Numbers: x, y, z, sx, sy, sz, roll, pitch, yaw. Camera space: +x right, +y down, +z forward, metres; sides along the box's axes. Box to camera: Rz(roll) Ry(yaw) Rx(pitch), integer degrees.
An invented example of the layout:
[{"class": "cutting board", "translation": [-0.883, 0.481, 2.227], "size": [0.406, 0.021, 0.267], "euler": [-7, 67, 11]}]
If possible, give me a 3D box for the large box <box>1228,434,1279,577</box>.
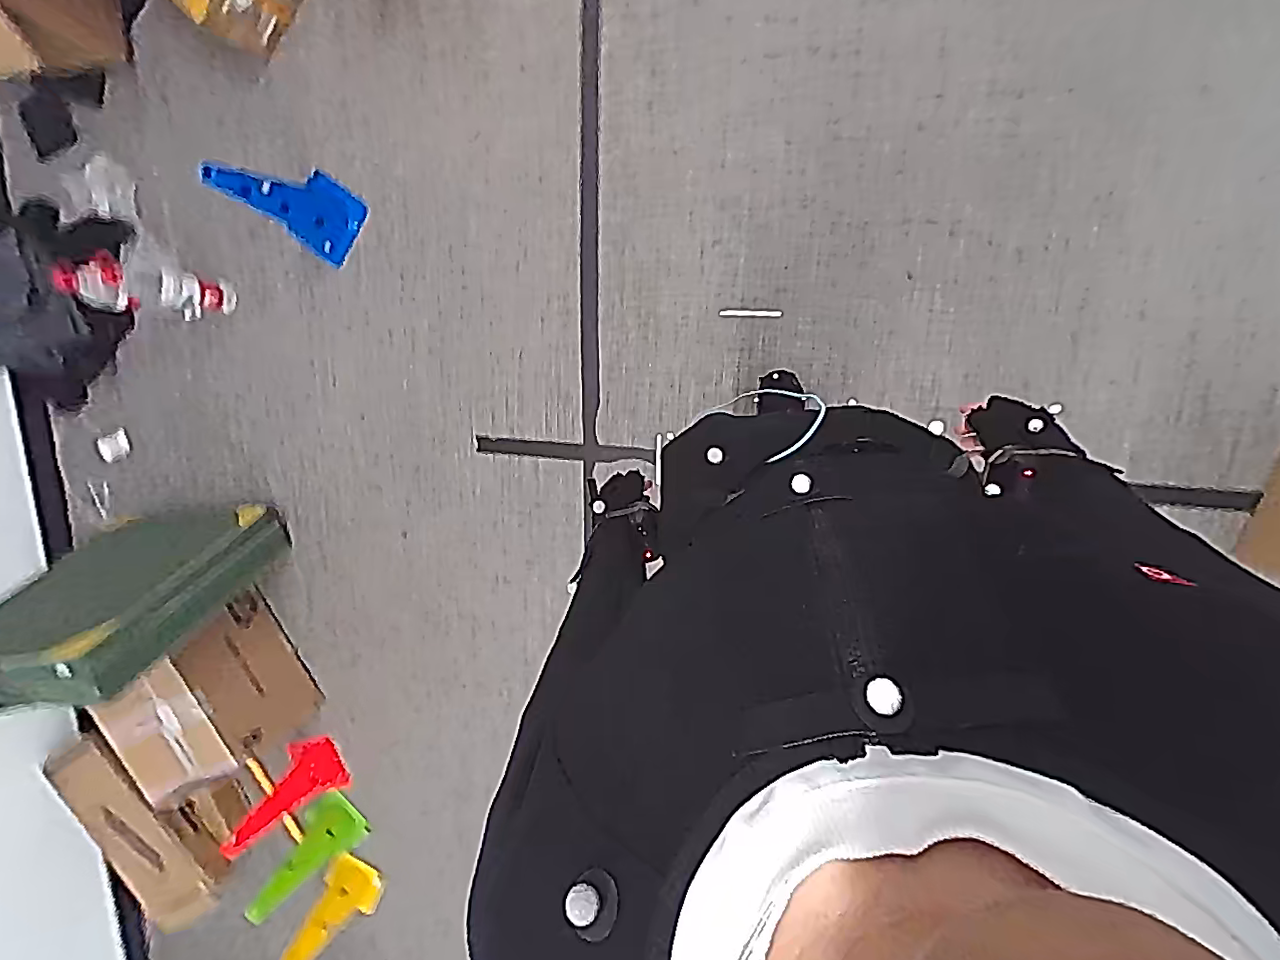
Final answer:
[{"class": "large box", "translation": [1.517, 0.050, 1.054], "size": [0.320, 0.320, 0.408], "euler": [15, 101, 7]}]
